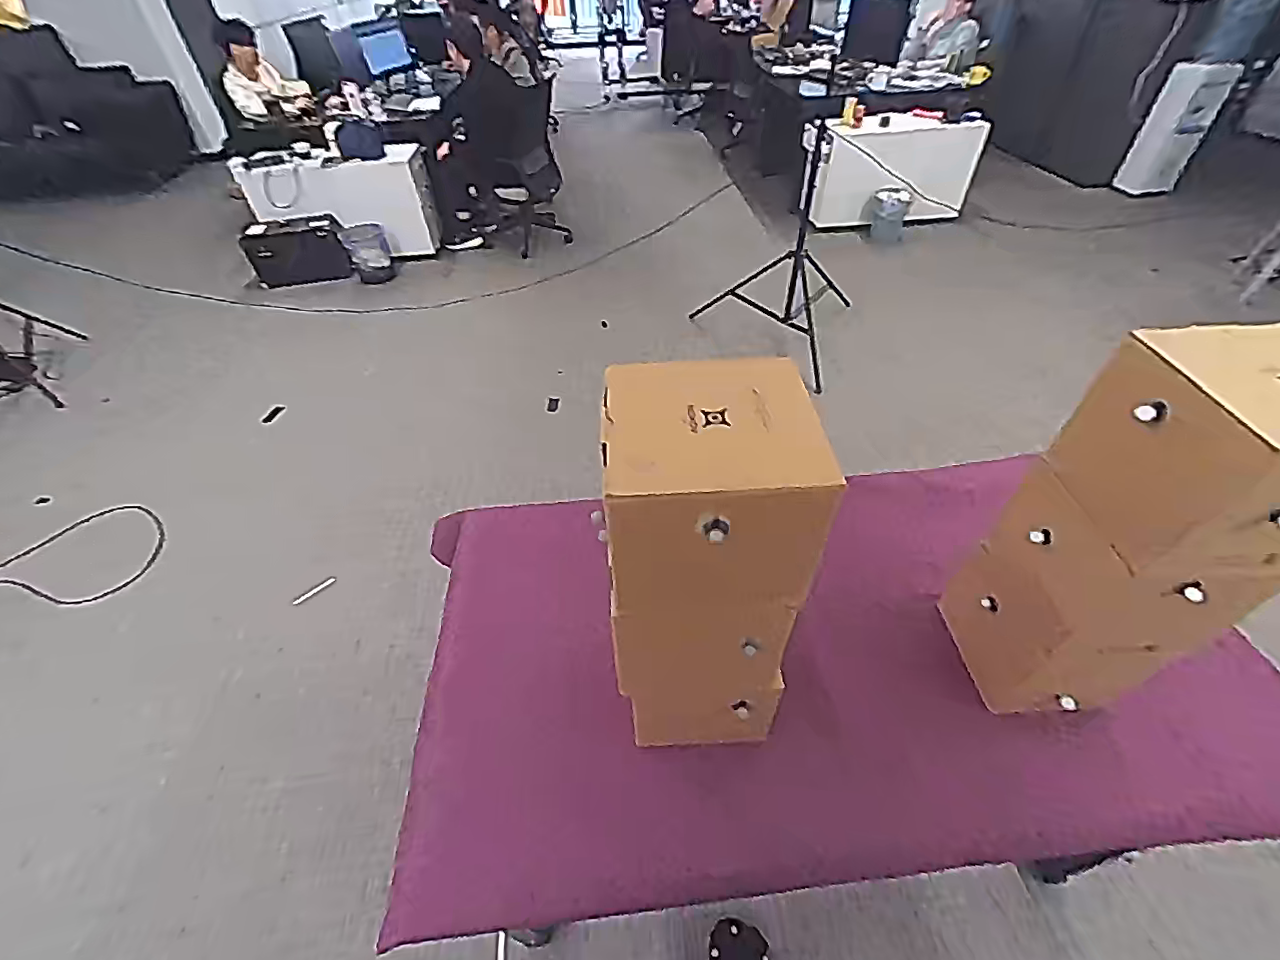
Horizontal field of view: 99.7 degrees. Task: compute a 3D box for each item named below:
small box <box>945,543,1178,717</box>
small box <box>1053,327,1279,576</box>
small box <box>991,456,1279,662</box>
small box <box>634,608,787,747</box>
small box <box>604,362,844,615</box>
[{"bbox_3d":[0.557,0.202,0.742,0.168,0.176,0.179,-3,45,0],"label":"small box"},{"bbox_3d":[0.546,-0.022,0.504,0.168,0.176,0.179,-2,44,2],"label":"small box"},{"bbox_3d":[0.551,0.089,0.624,0.168,0.176,0.179,-2,44,2],"label":"small box"},{"bbox_3d":[0.082,0.243,0.725,0.179,0.176,0.168,-3,44,1],"label":"small box"},{"bbox_3d":[0.061,0.010,0.497,0.179,0.176,0.168,-3,46,-1],"label":"small box"}]
